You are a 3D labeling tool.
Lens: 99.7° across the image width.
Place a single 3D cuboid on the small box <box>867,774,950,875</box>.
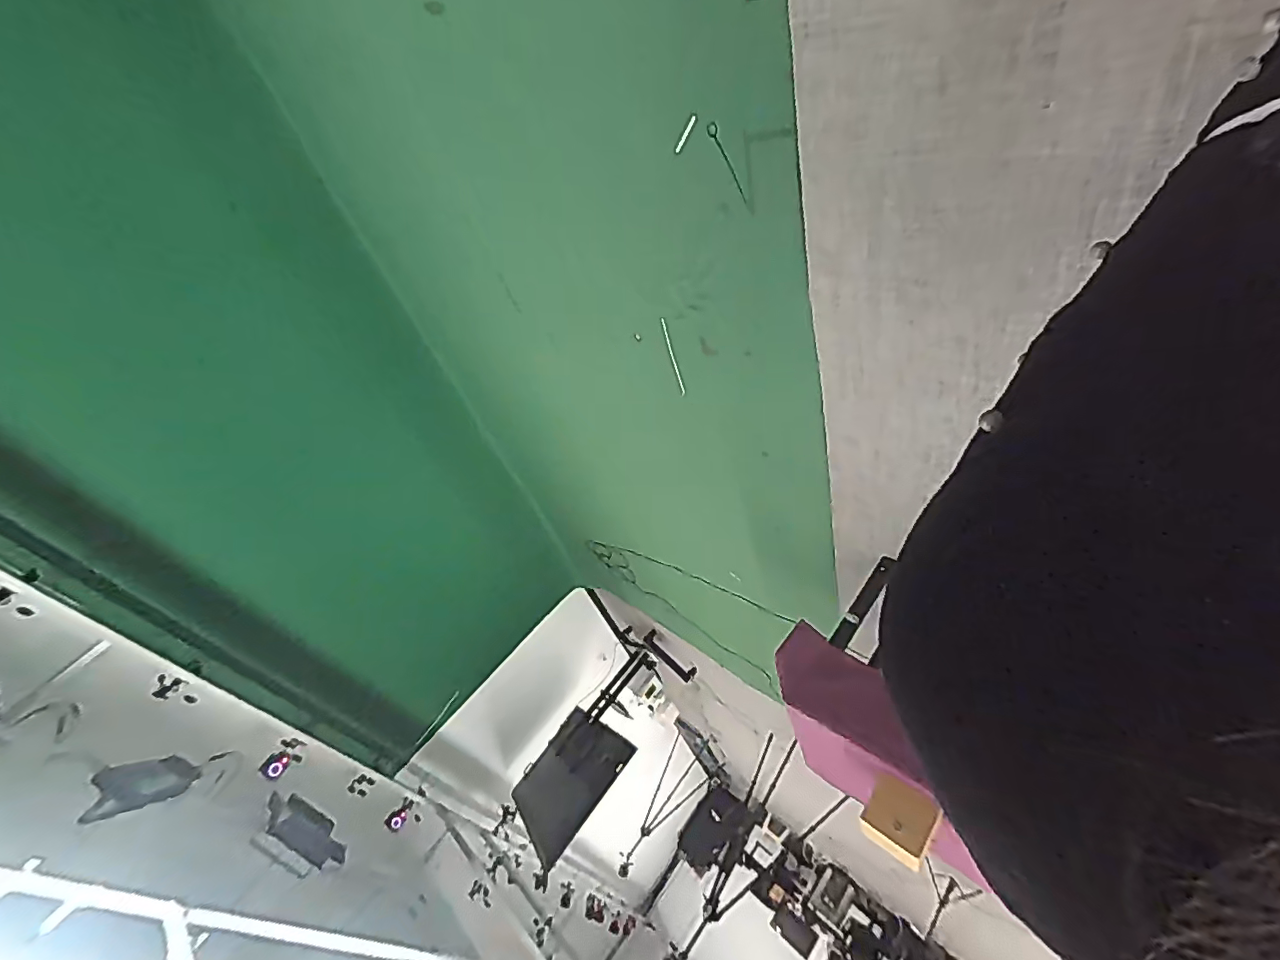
[{"bbox_3d":[0.805,1.027,1.621,0.179,0.176,0.168,22,147,40],"label":"small box"}]
